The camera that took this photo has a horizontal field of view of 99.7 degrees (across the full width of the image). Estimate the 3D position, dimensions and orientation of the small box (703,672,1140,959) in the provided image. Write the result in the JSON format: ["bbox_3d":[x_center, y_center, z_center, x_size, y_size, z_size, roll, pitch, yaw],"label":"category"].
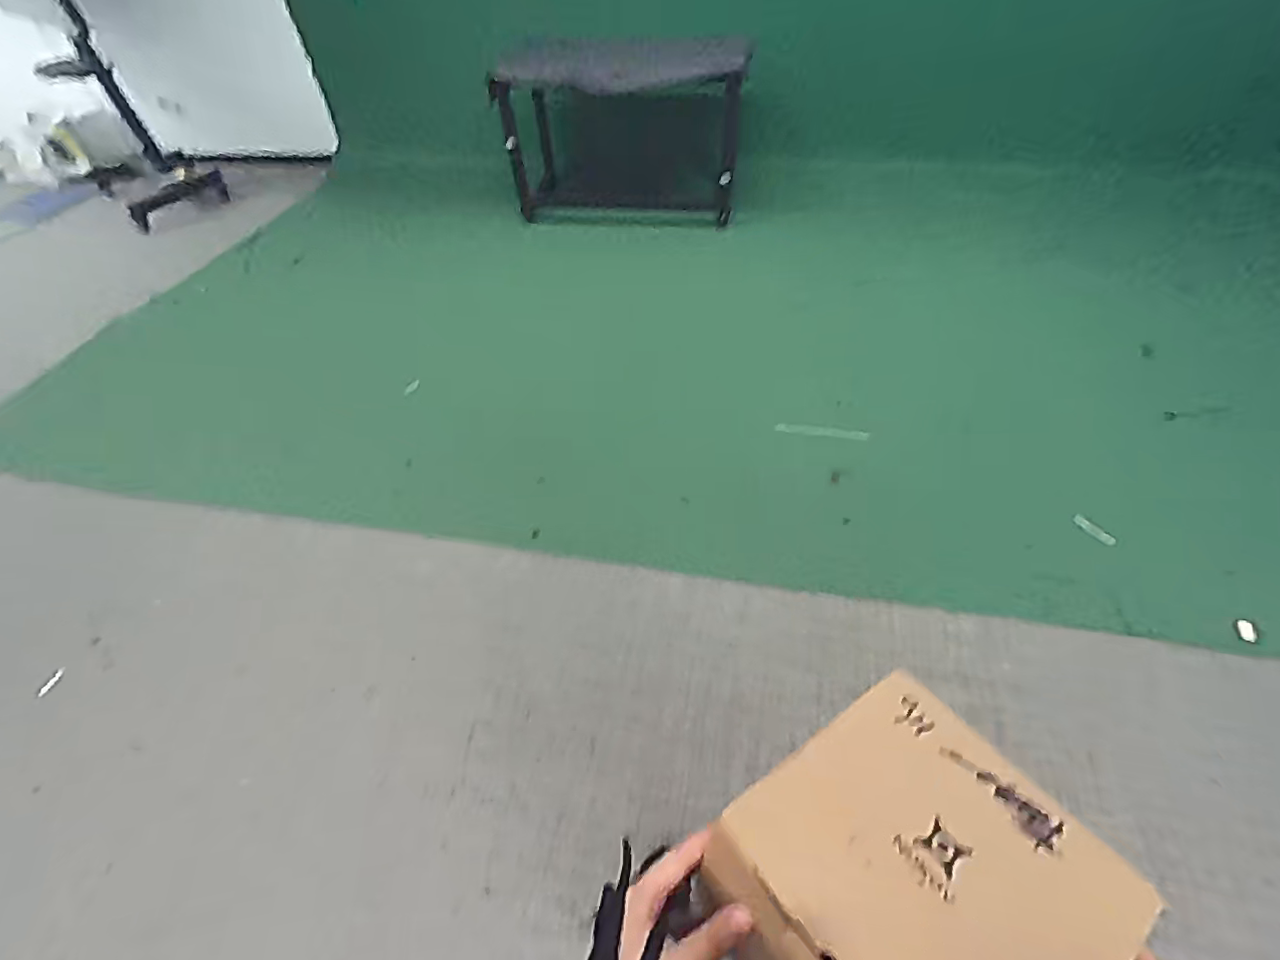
[{"bbox_3d":[0.156,0.274,0.357,0.179,0.176,0.168,-23,46,-26],"label":"small box"}]
